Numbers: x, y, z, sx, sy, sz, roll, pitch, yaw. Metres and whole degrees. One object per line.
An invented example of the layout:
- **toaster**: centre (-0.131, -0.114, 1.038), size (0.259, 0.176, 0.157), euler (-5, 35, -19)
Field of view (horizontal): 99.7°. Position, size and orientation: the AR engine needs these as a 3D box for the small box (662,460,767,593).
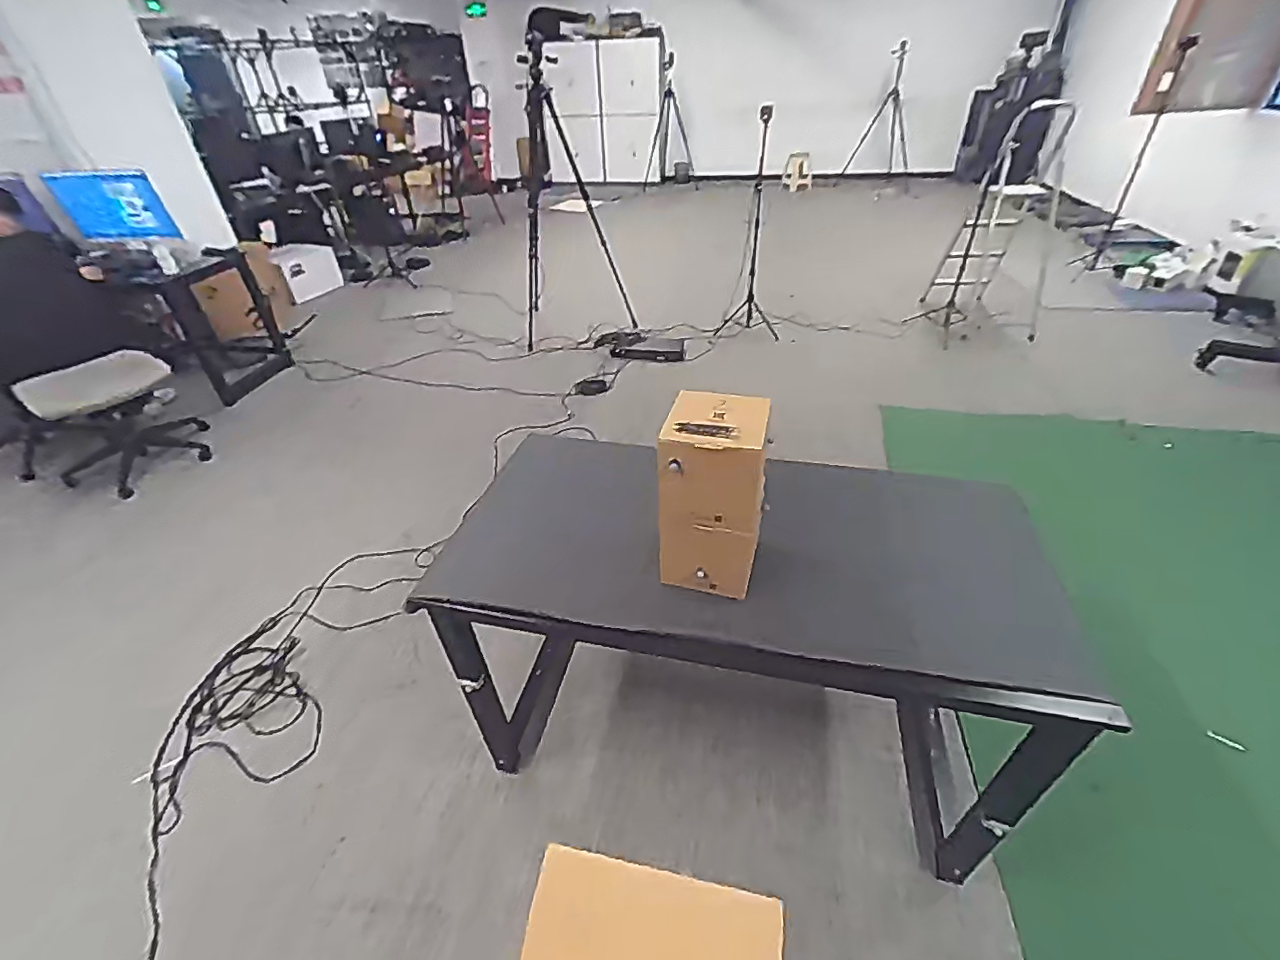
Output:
- **small box**: centre (0.143, 0.087, 1.044), size (0.168, 0.176, 0.179), euler (9, 39, 16)
